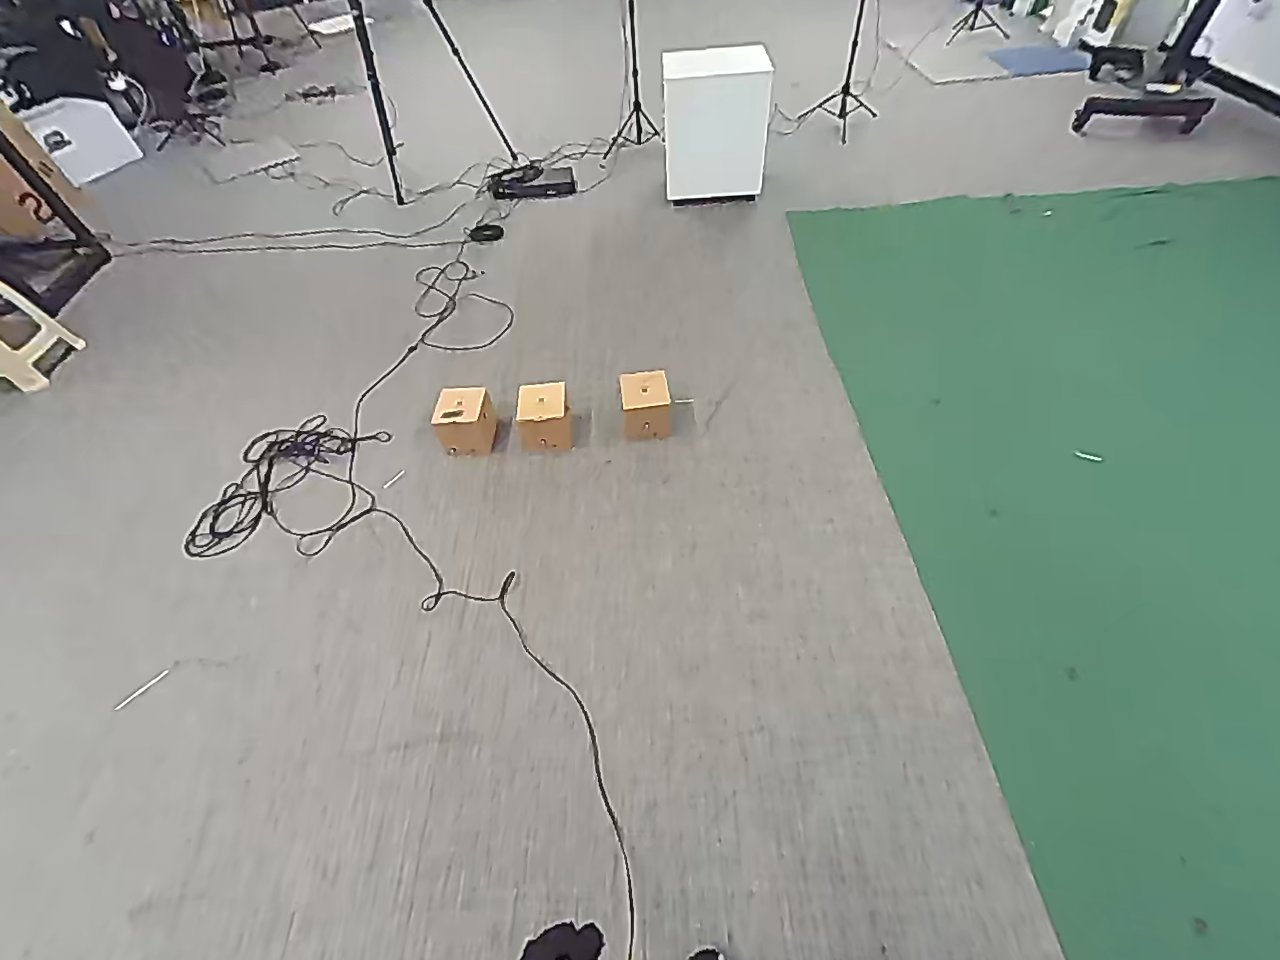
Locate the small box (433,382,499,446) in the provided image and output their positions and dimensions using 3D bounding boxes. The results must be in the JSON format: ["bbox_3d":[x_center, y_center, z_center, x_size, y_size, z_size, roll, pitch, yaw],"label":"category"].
[{"bbox_3d":[-0.625,-0.236,1.969,0.168,0.176,0.179,-1,52,3],"label":"small box"}]

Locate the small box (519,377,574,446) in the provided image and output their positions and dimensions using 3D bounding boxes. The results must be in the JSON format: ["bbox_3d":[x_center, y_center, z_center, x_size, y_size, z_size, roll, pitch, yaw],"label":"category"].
[{"bbox_3d":[-0.335,-0.247,1.956,0.168,0.176,0.179,-6,53,1],"label":"small box"}]

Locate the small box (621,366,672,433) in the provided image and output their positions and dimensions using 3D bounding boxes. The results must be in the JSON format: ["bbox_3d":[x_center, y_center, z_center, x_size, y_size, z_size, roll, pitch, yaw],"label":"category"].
[{"bbox_3d":[0.023,-0.284,1.955,0.168,0.176,0.179,-6,53,-1],"label":"small box"}]
